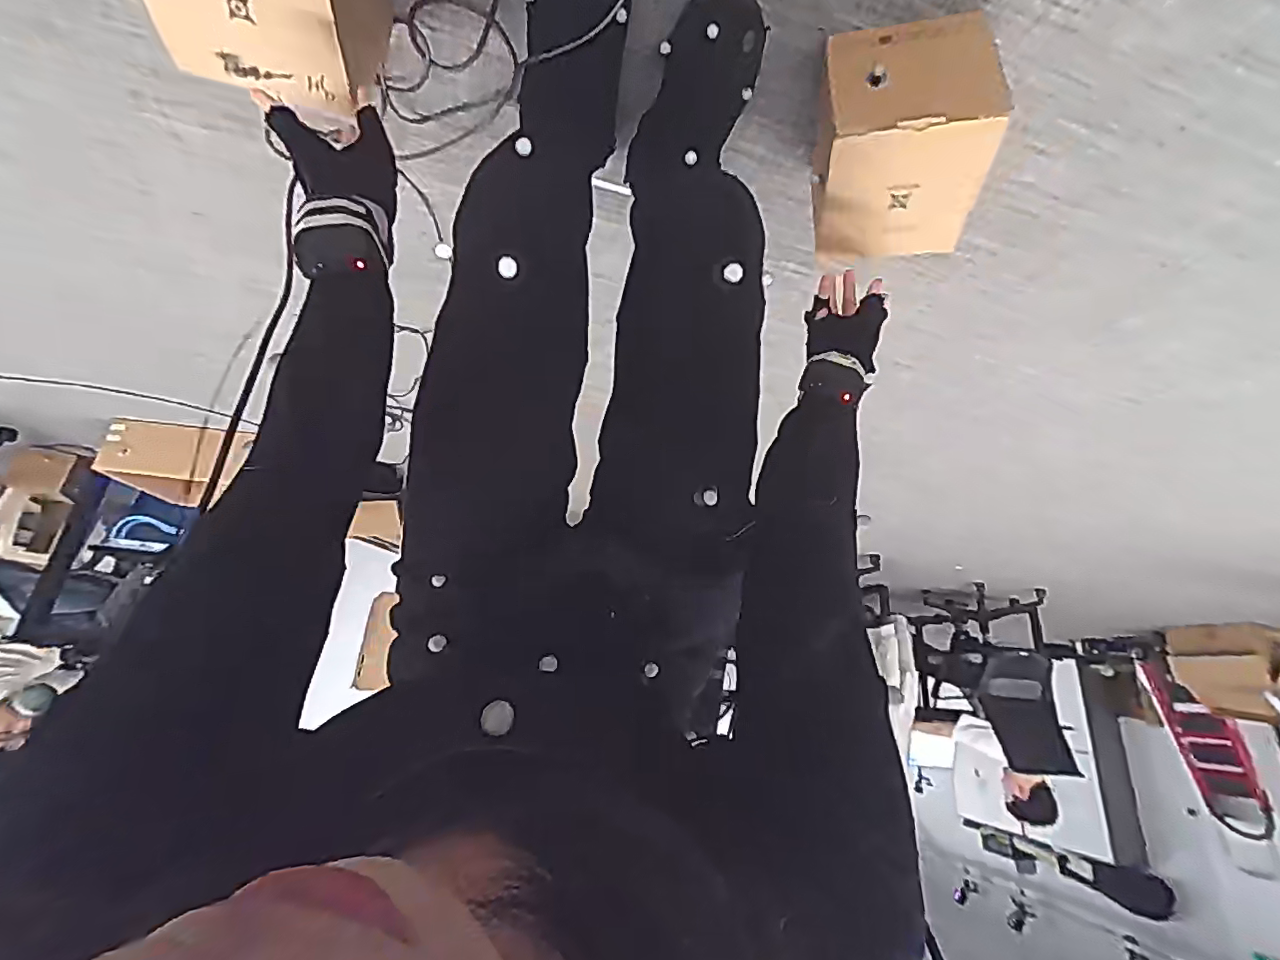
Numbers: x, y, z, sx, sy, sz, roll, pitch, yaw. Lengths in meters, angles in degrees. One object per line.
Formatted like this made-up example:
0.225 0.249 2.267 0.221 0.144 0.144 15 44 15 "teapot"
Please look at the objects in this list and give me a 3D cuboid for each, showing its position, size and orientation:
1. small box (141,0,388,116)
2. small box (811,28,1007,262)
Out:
-0.347 -0.496 0.498 0.168 0.176 0.179 10 156 -13 "small box"
0.296 -0.390 0.639 0.168 0.176 0.179 2 159 12 "small box"
